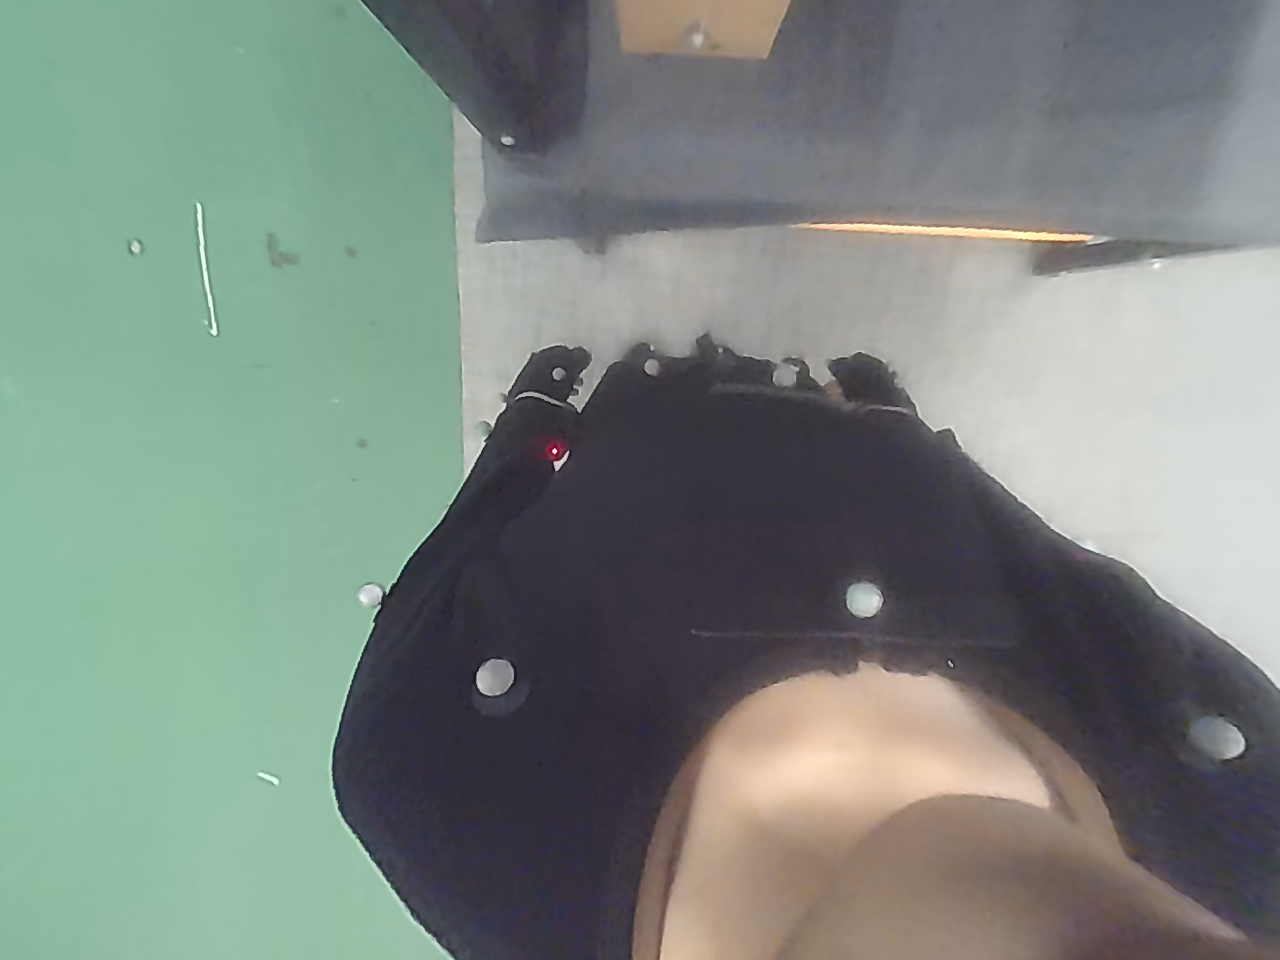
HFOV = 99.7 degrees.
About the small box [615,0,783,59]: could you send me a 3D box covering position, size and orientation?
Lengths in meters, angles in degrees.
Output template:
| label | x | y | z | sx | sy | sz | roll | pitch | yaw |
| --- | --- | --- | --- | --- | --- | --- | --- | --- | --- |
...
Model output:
| label | x | y | z | sx | sy | sz | roll | pitch | yaw |
| --- | --- | --- | --- | --- | --- | --- | --- | --- | --- |
| small box | 0.060 | -0.542 | 0.507 | 0.168 | 0.176 | 0.179 | 4 | 105 | 1 |
